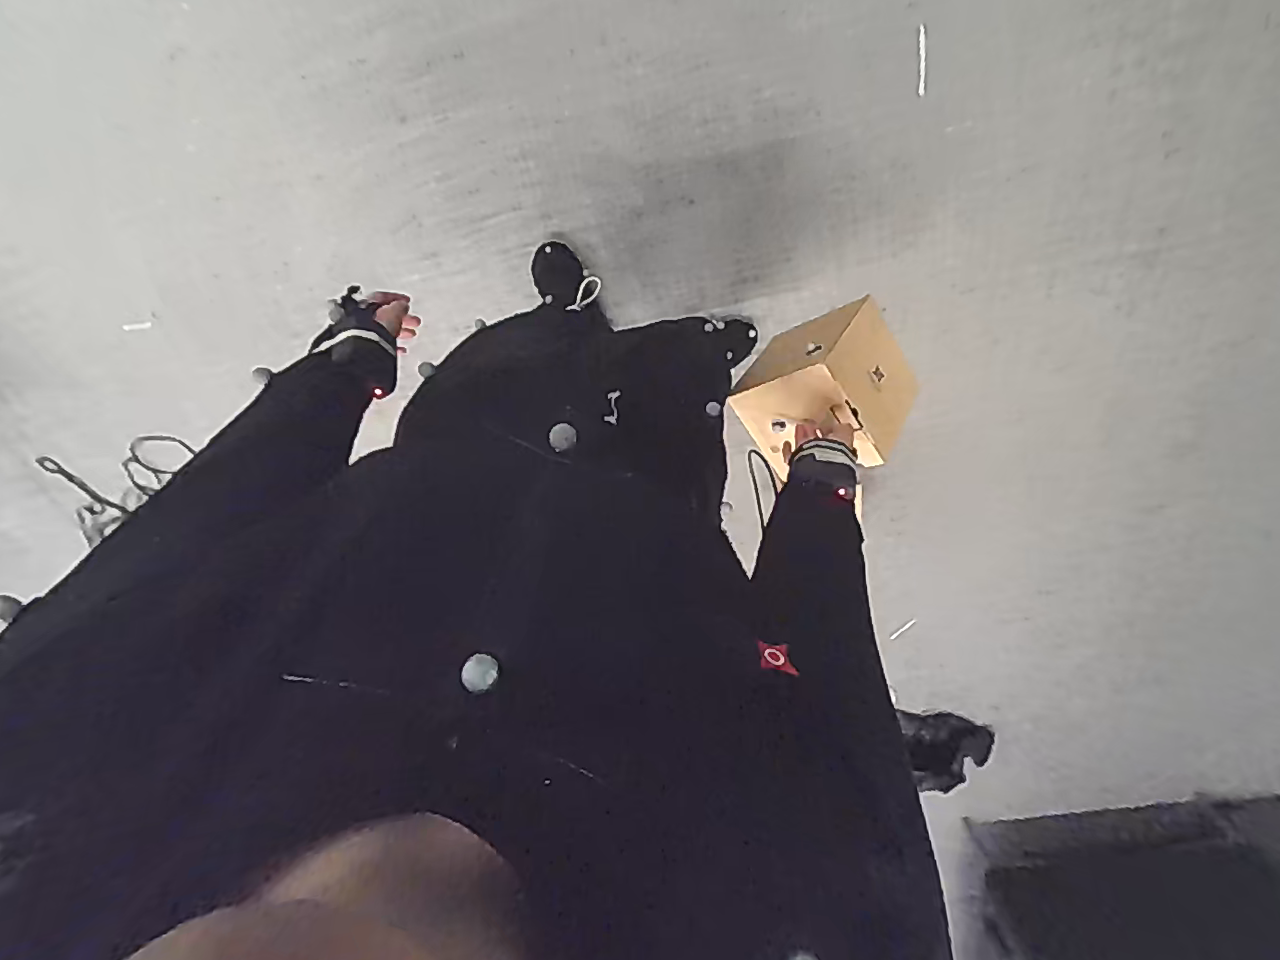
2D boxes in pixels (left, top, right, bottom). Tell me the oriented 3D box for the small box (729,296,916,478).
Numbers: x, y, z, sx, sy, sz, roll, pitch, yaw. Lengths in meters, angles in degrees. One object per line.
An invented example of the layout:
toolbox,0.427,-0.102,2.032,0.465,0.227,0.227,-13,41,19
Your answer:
small box,0.256,-0.123,0.765,0.176,0.179,0.168,-12,122,51
